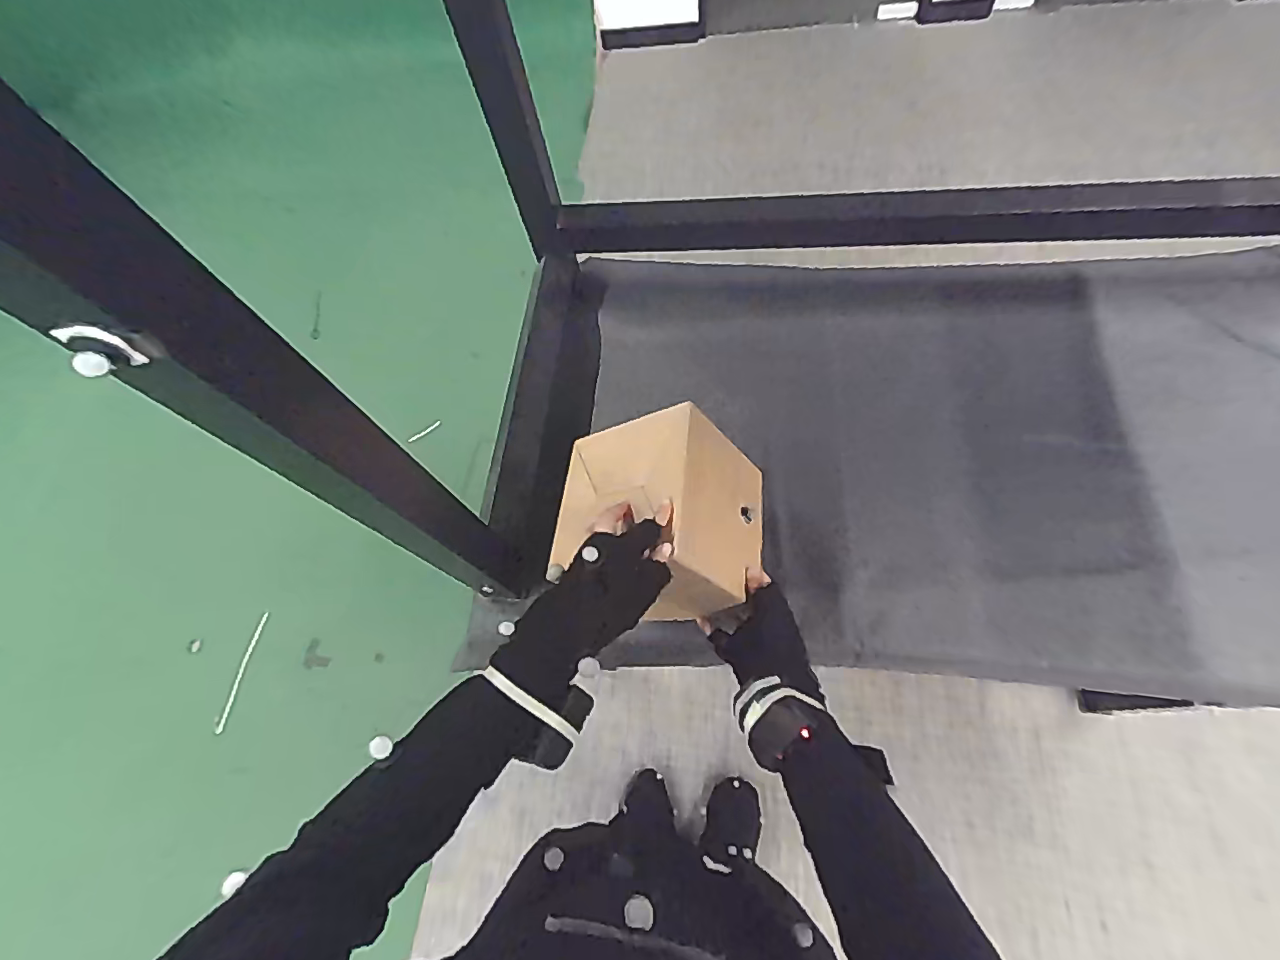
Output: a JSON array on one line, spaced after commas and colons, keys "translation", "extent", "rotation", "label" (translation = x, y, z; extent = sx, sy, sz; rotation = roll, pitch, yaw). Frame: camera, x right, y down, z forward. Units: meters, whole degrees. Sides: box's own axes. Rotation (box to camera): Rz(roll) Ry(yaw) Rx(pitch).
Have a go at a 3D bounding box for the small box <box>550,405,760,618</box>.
[{"translation": [0.023, 0.042, 0.612], "extent": [0.168, 0.176, 0.179], "rotation": [-16, 53, 35], "label": "small box"}]
